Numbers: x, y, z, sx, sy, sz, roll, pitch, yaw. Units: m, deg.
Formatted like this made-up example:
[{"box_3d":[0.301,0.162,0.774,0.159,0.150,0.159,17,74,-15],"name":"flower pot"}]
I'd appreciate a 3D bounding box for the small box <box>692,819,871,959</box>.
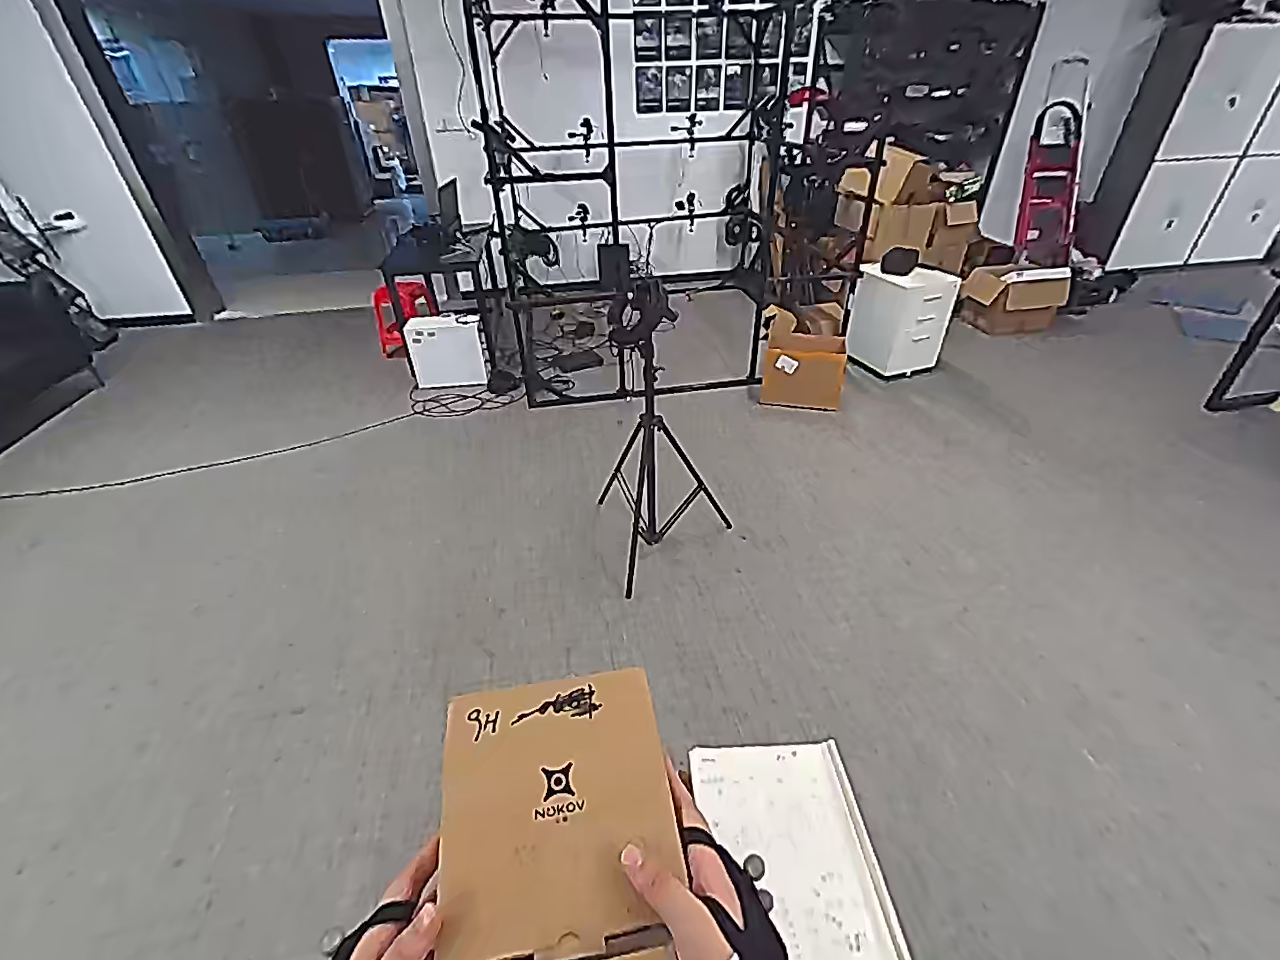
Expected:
[{"box_3d":[0.158,0.542,0.654,0.168,0.176,0.179,-1,37,-3],"name":"small box"}]
